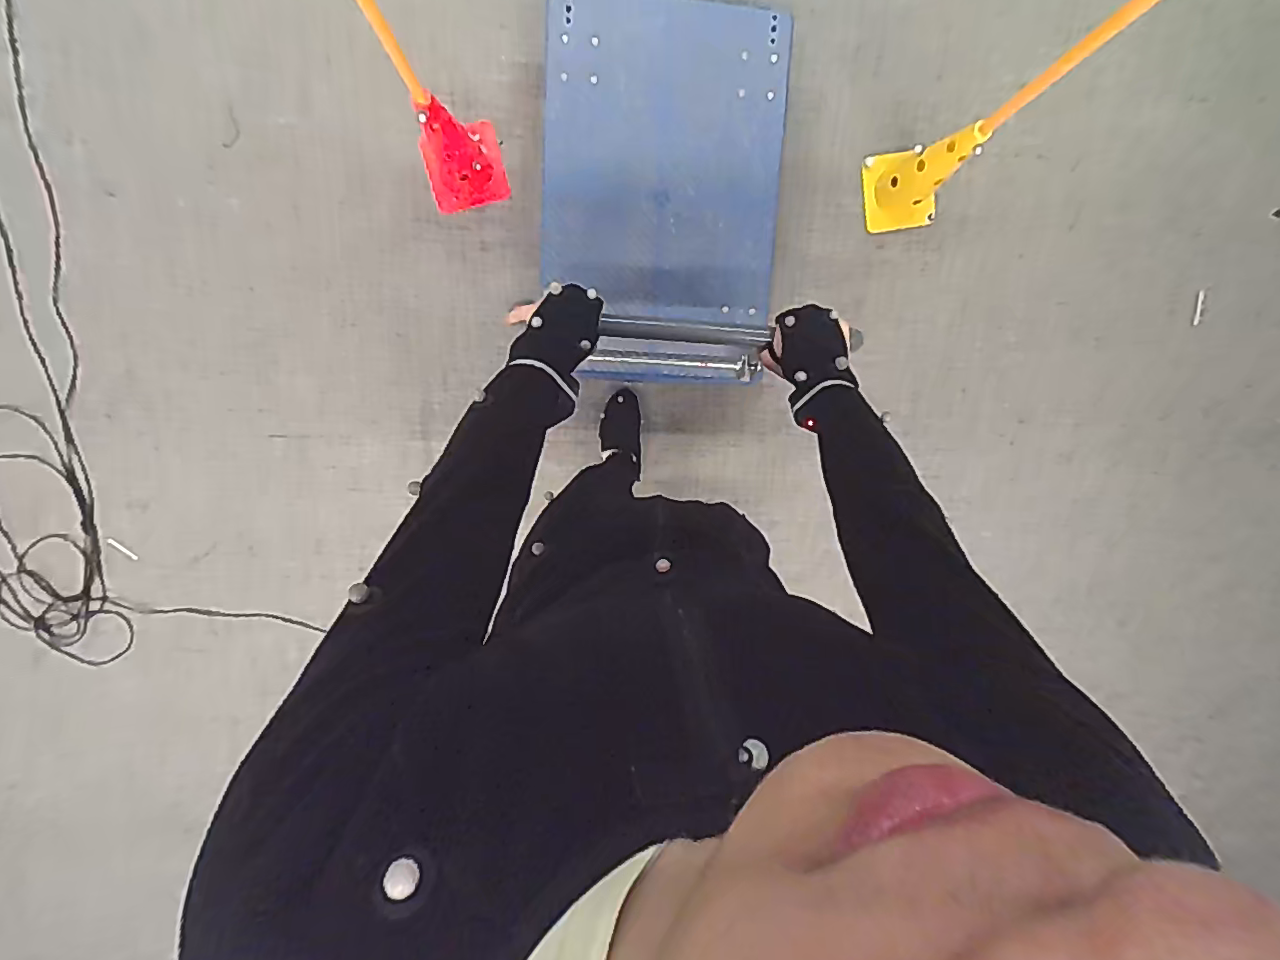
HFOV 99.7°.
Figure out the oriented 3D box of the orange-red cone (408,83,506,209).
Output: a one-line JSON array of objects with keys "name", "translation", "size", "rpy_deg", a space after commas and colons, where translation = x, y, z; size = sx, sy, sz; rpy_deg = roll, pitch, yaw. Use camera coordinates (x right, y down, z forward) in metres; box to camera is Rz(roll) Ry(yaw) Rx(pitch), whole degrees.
[{"name": "orange-red cone", "translation": [-0.455, -0.799, 1.249], "size": [0.199, 0.360, 0.198], "rpy_deg": [-13, 100, 0]}]
